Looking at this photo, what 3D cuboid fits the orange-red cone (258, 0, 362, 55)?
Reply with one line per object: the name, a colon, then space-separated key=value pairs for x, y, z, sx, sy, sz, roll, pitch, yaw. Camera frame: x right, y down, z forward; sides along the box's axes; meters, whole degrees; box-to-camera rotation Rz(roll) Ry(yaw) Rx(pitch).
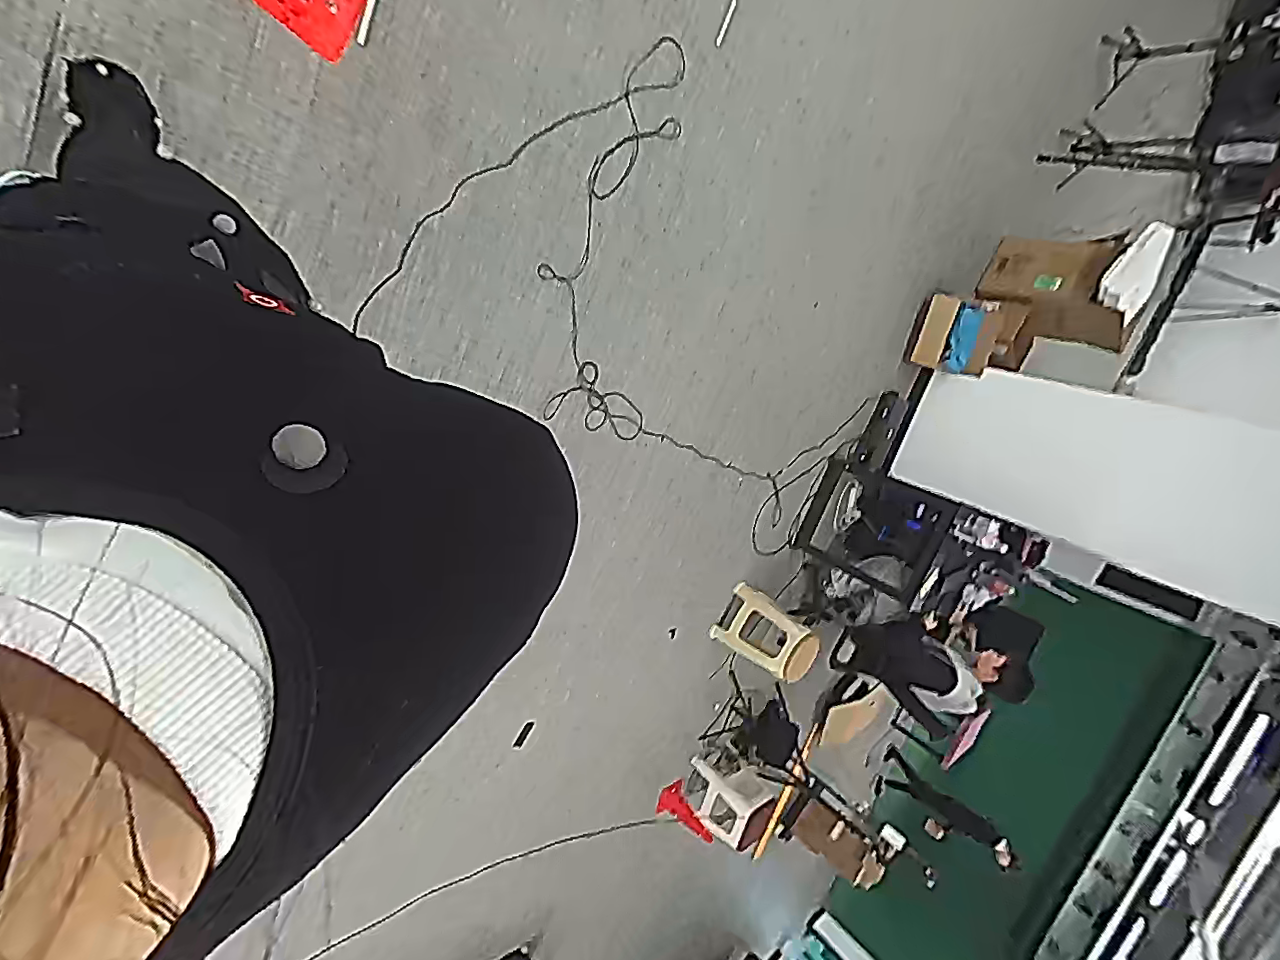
orange-red cone: x=-0.523 y=-0.895 z=0.893 sx=0.199 sy=0.360 sz=0.198 roll=25 pitch=92 yaw=-47
